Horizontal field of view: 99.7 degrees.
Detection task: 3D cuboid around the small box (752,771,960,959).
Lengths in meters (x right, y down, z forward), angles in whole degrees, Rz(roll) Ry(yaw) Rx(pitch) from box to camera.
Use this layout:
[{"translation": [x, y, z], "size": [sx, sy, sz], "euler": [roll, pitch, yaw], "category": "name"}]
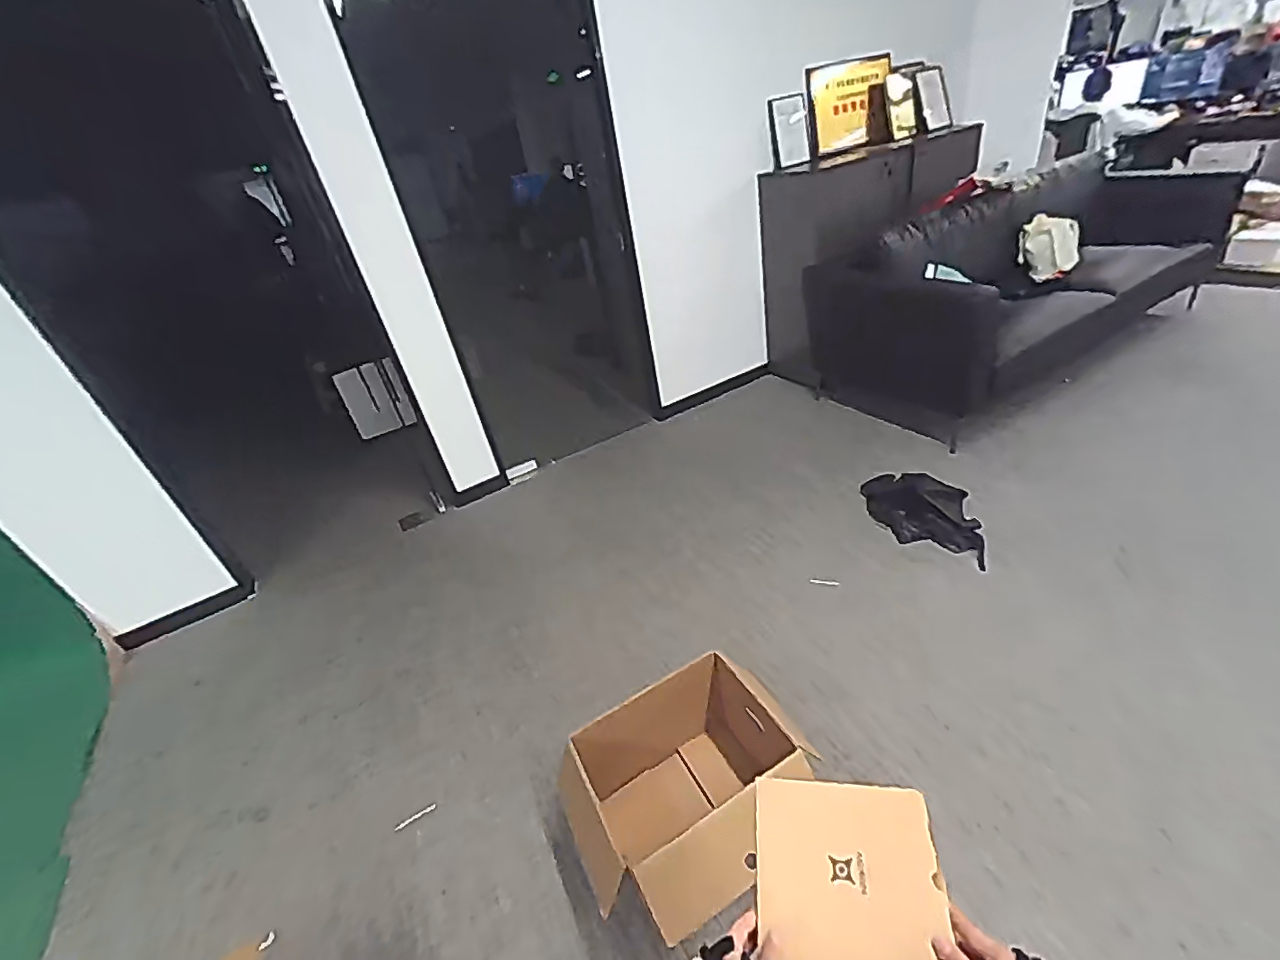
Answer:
[{"translation": [0.214, 0.438, 0.576], "size": [0.179, 0.176, 0.168], "euler": [-2, 38, 13], "category": "small box"}]
